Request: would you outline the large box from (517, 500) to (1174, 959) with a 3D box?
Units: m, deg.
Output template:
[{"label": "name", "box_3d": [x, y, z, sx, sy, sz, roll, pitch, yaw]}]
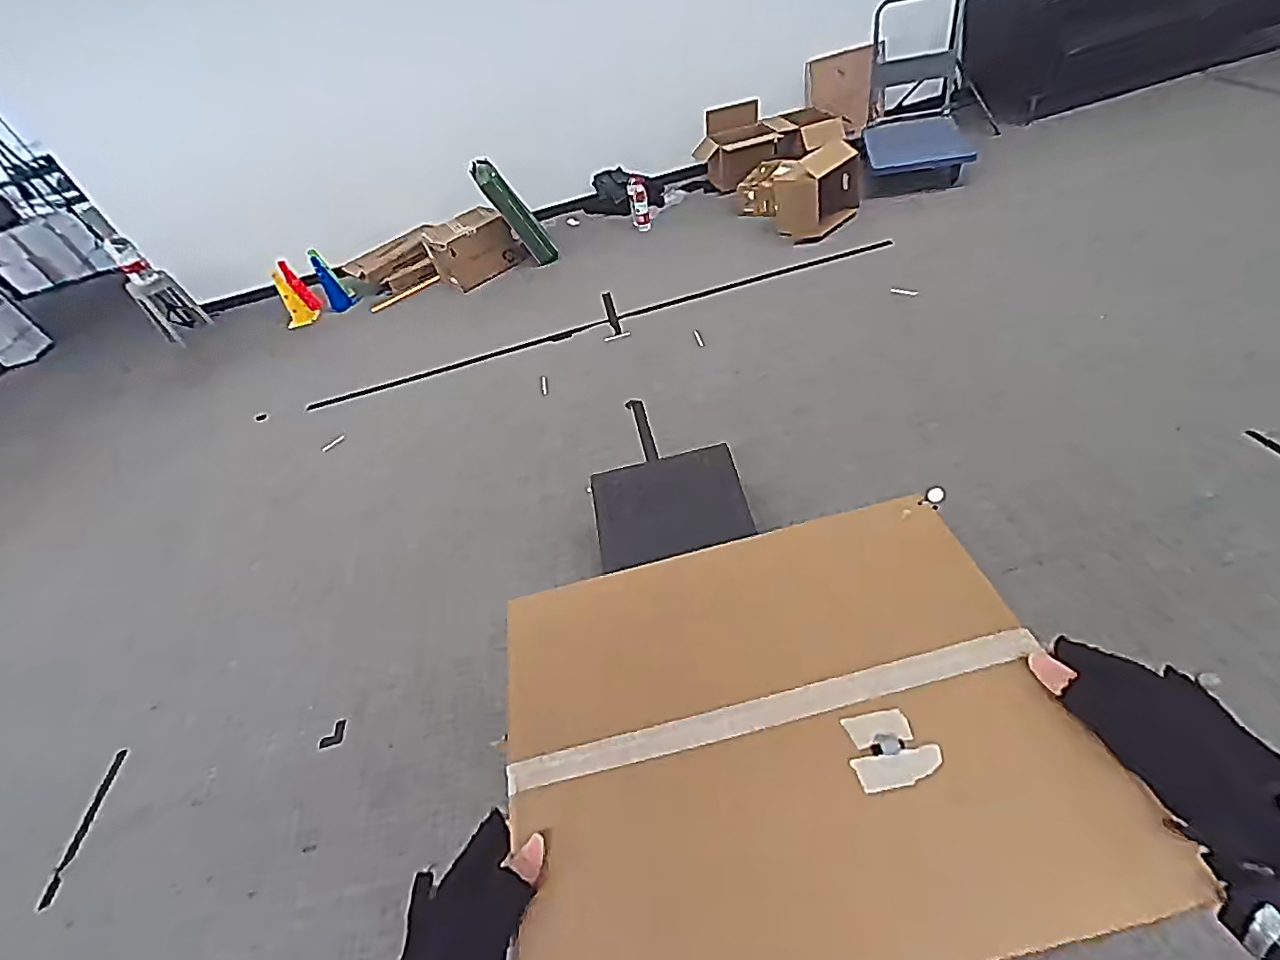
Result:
[{"label": "large box", "box_3d": [0.125, 0.276, 0.527, 0.408, 0.320, 0.320, -15, 47, 0]}]
